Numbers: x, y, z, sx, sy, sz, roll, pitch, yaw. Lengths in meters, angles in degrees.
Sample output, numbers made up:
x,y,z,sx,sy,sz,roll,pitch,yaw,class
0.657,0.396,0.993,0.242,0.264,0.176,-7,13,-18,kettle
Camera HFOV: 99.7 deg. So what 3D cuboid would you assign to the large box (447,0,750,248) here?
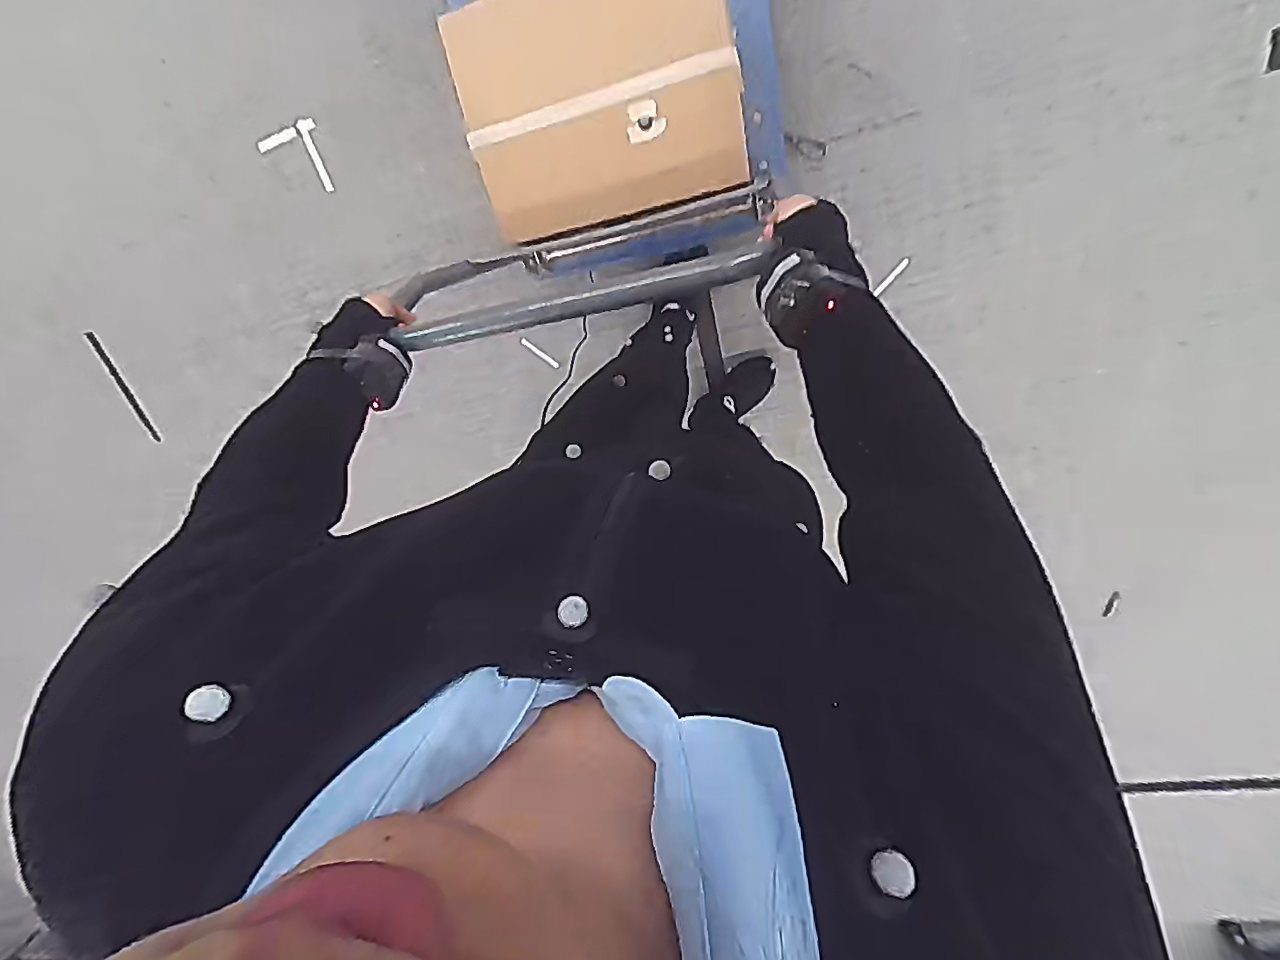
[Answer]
x,y,z,sx,sy,sz,roll,pitch,yaw,class
-0.040,-0.614,0.931,0.408,0.320,0.320,-9,113,13,large box
